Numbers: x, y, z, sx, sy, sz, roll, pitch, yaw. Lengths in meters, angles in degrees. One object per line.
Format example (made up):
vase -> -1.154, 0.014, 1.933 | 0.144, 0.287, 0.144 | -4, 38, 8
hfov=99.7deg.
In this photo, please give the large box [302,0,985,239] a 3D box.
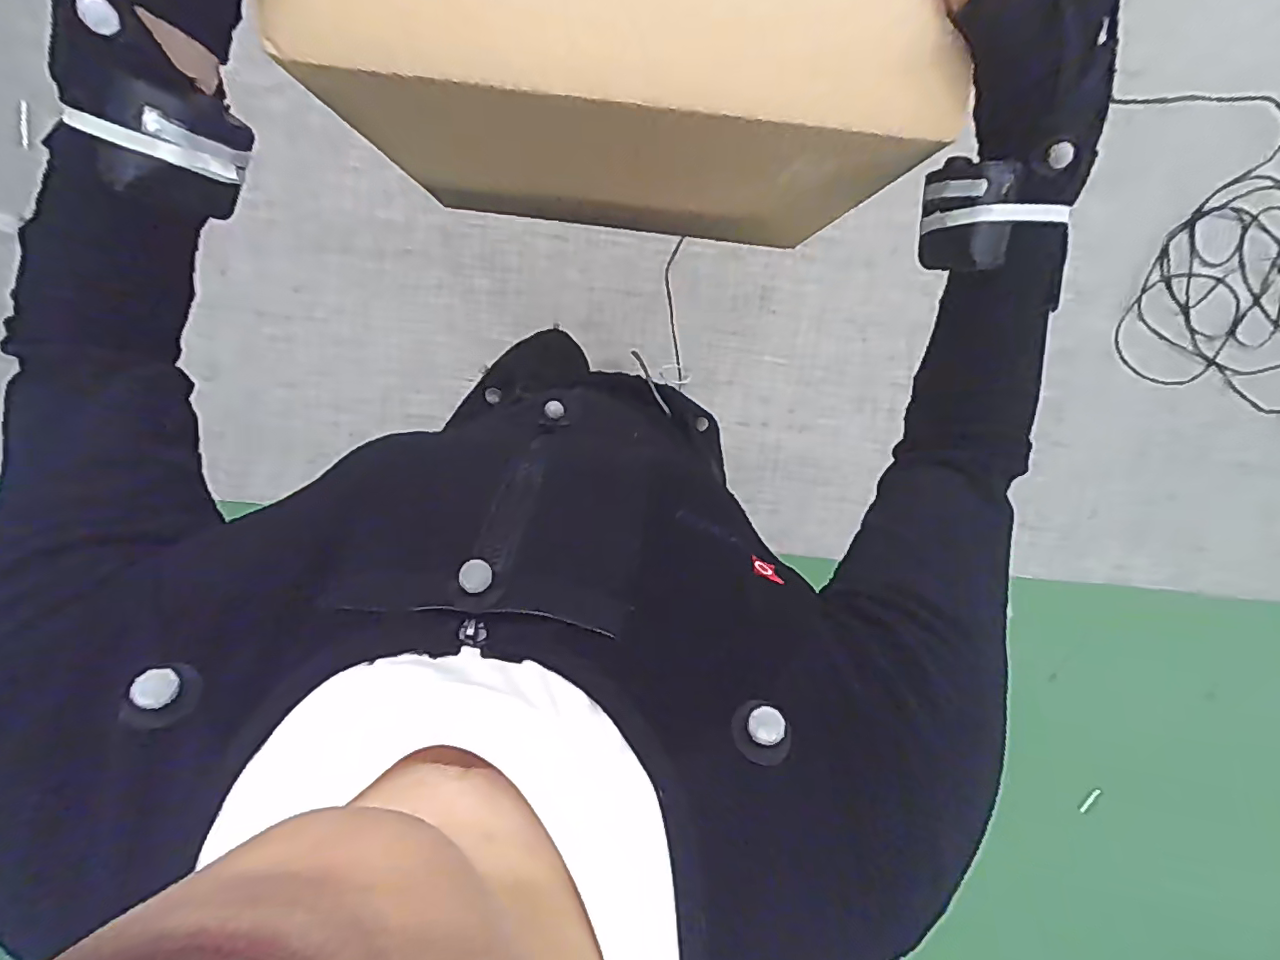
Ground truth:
large box -> 0.007, -0.408, 0.439 | 0.408, 0.320, 0.320 | 5, 103, -4
